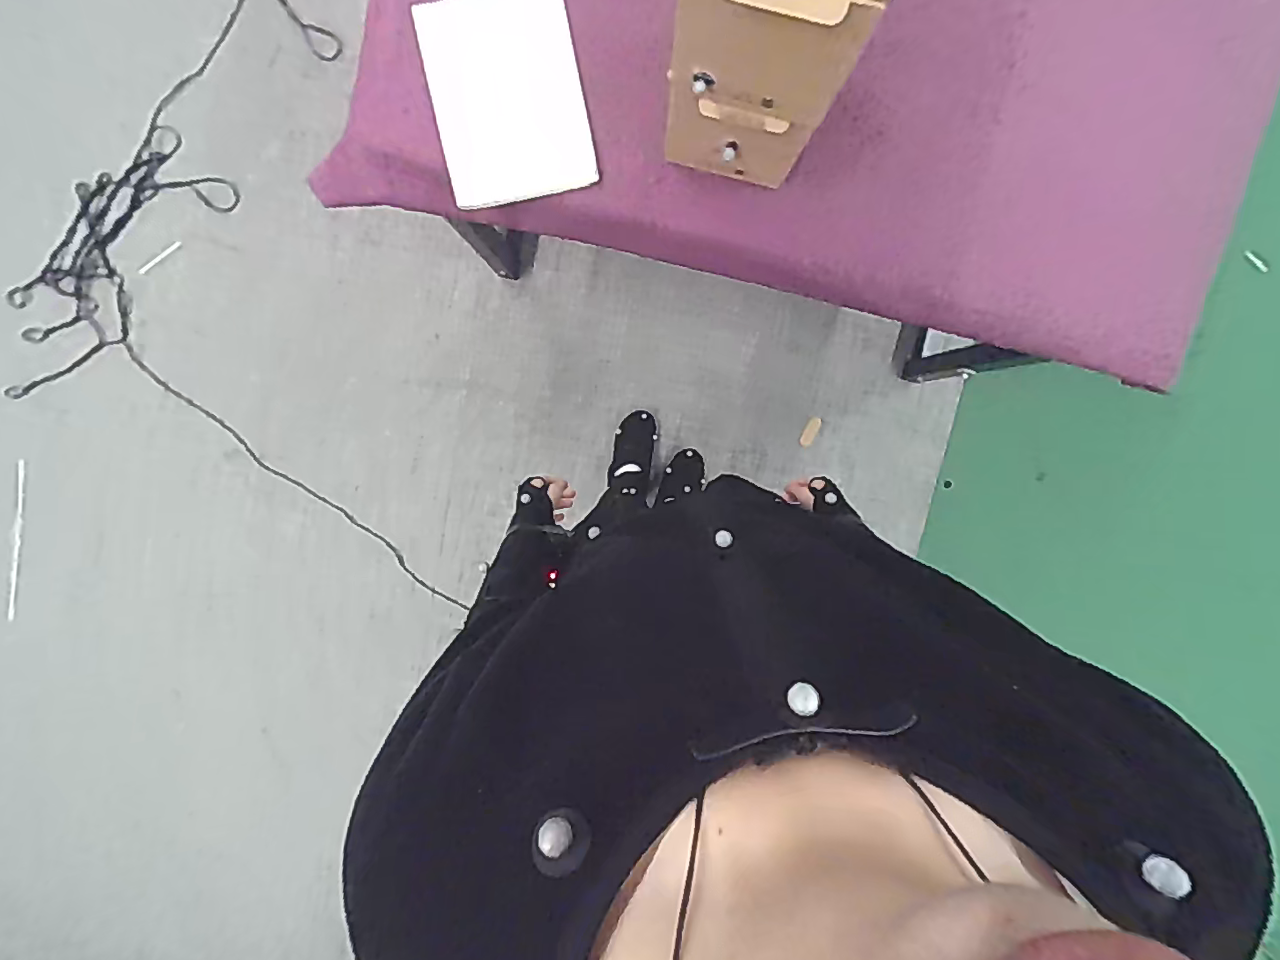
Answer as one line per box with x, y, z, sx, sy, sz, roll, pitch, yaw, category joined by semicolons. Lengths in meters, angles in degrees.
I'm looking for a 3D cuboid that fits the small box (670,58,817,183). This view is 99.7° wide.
0.136;-0.497;0.658;0.168;0.176;0.179;14;96;-2;small box

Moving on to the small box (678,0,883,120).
0.134;-0.476;0.494;0.168;0.176;0.179;14;94;-1;small box
